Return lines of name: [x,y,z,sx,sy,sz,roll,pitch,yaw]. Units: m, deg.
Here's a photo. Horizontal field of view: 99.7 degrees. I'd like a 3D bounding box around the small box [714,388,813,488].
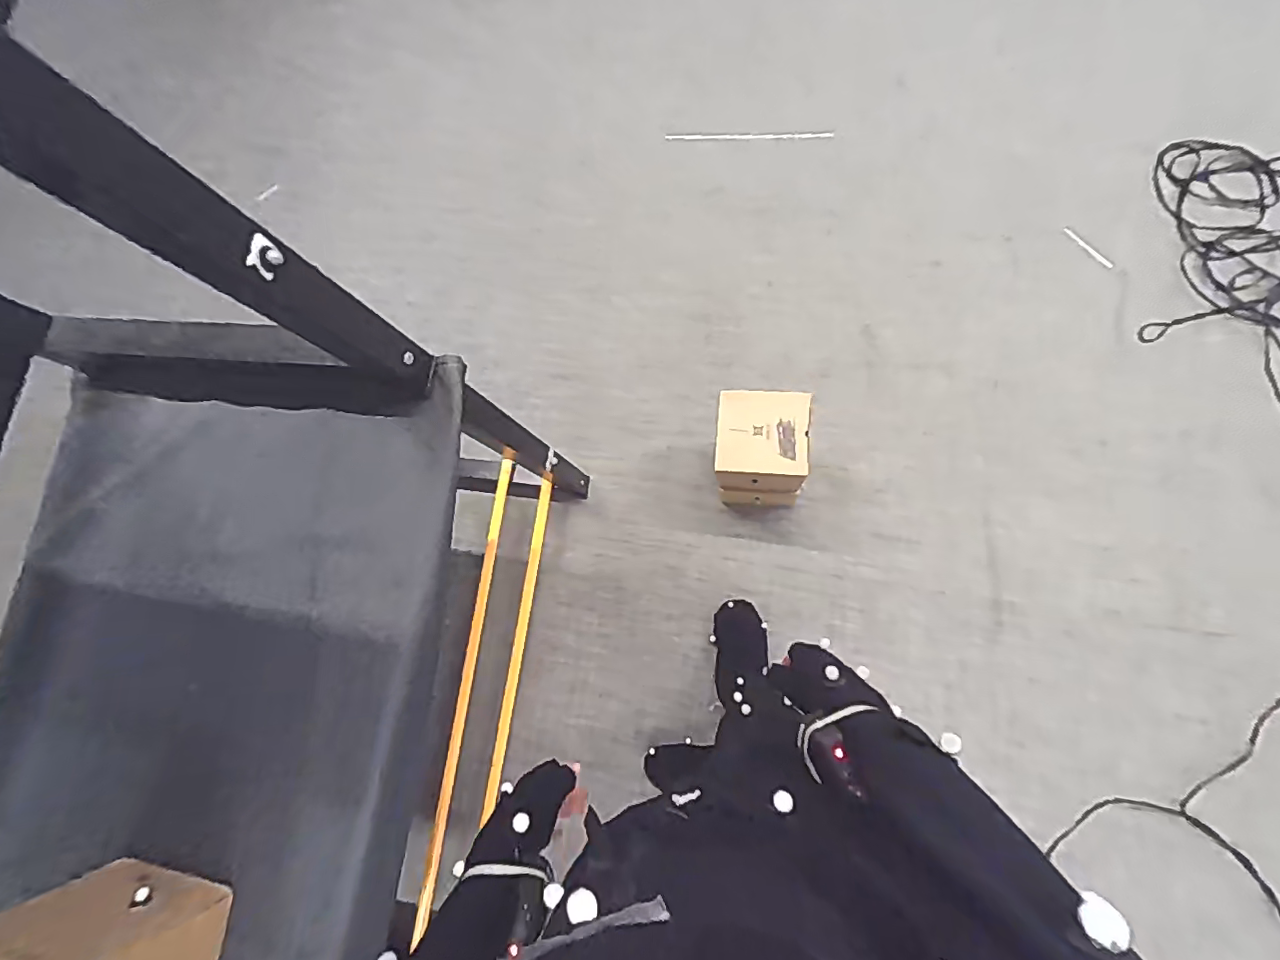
small box: [0.250,-0.080,1.106,0.179,0.176,0.168,4,80,12]
